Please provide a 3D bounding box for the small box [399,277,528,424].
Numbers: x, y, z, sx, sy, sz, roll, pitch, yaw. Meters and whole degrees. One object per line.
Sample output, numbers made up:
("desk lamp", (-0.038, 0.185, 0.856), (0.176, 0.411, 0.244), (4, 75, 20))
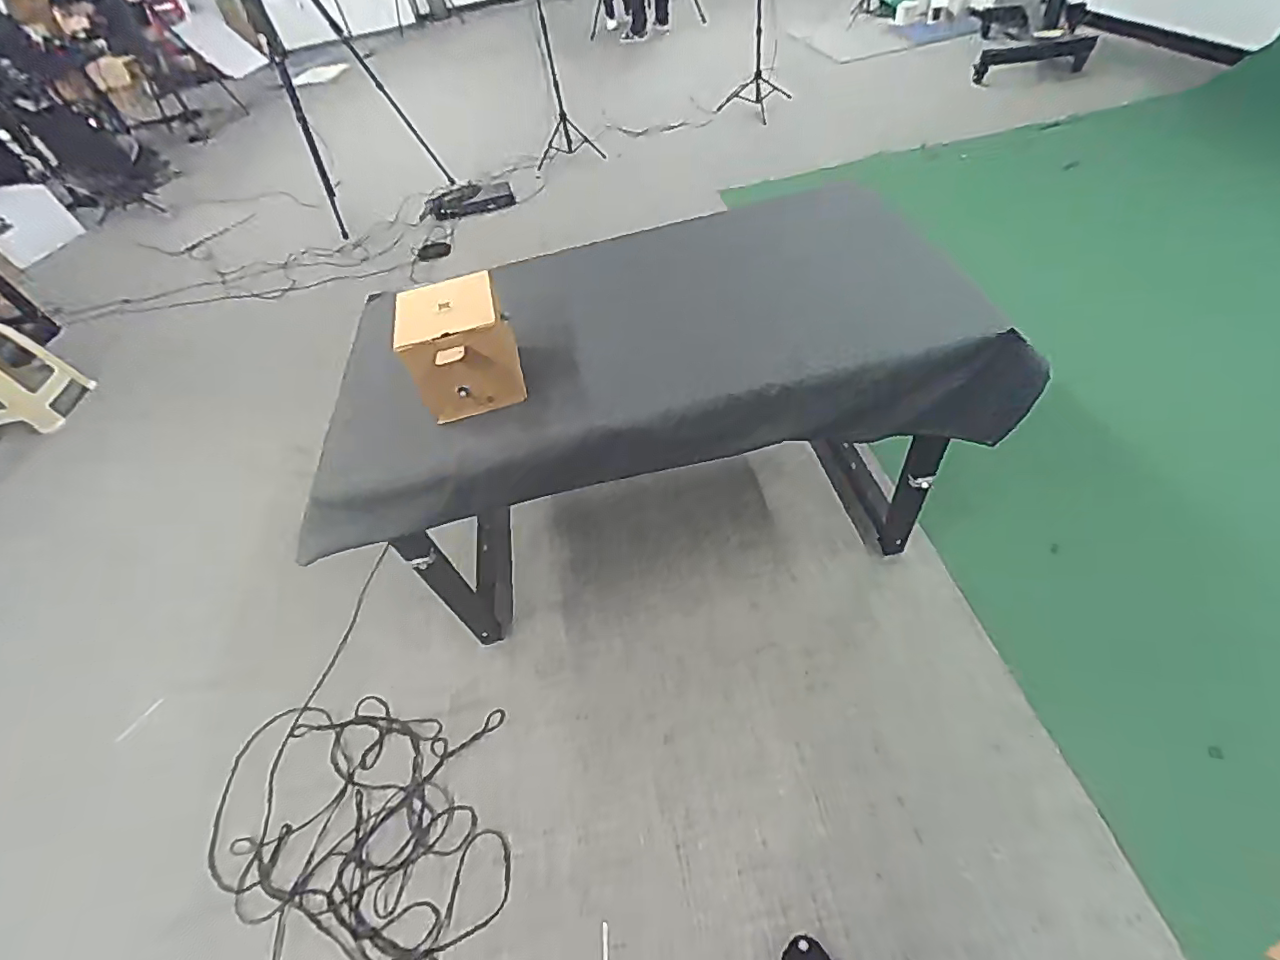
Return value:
("small box", (-0.308, -0.228, 0.961), (0.168, 0.176, 0.179), (-16, 50, -4))
